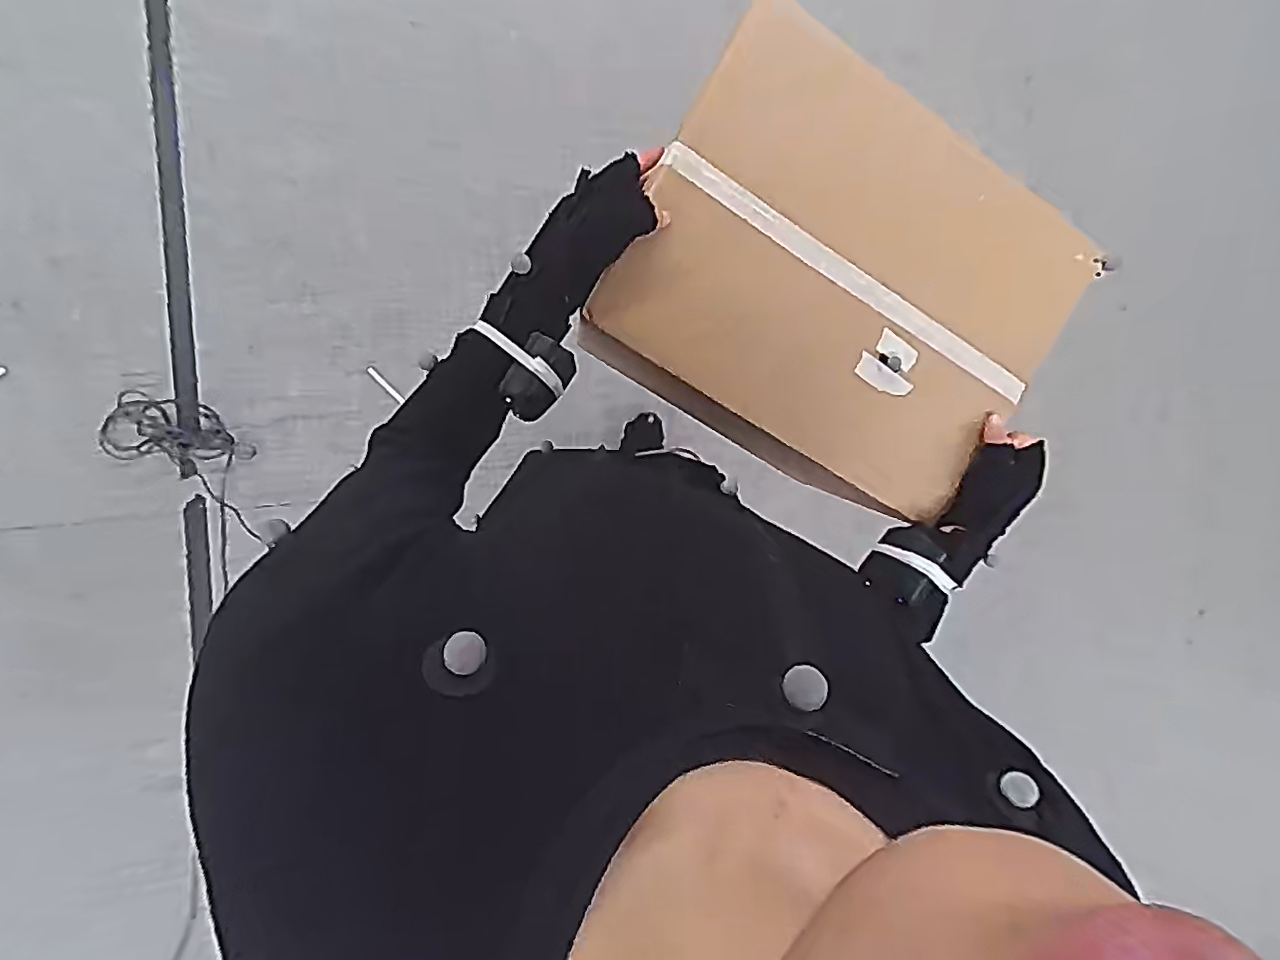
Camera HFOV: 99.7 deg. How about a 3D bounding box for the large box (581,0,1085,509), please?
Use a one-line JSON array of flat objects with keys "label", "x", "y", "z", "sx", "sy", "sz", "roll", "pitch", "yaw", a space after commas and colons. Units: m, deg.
[{"label": "large box", "x": 0.176, "y": -0.215, "z": 0.651, "sx": 0.408, "sy": 0.320, "sz": 0.320, "roll": 29, "pitch": 96, "yaw": -12}]
